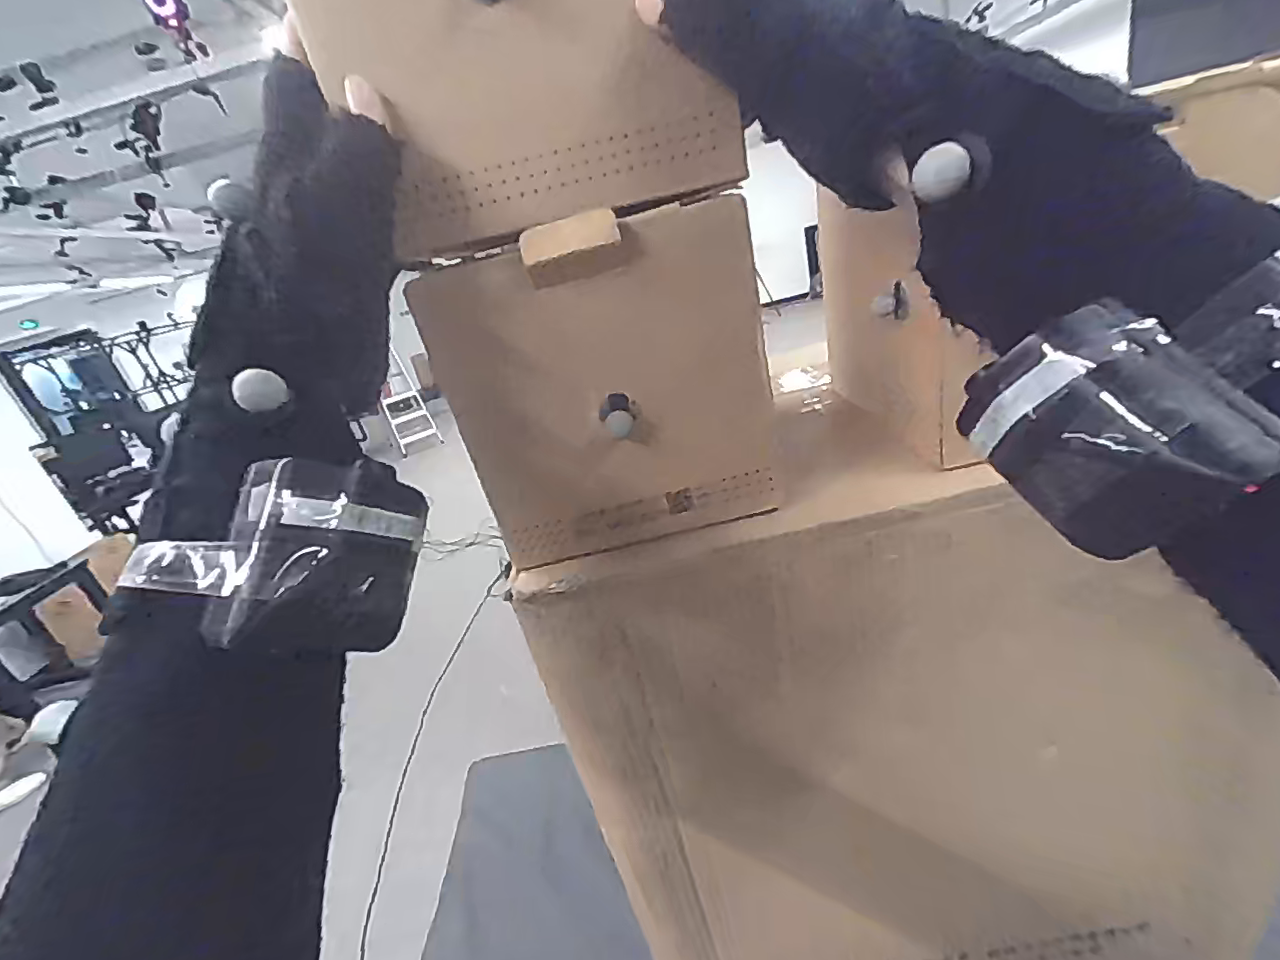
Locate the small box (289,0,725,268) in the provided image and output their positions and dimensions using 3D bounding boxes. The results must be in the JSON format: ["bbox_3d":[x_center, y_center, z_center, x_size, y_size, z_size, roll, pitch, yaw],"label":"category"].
[{"bbox_3d":[-0.056,-0.224,0.291,0.179,0.176,0.168,-12,24,3],"label":"small box"}]

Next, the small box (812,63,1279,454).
[{"bbox_3d":[0.222,-0.125,0.343,0.168,0.176,0.179,-11,24,2],"label":"small box"}]
